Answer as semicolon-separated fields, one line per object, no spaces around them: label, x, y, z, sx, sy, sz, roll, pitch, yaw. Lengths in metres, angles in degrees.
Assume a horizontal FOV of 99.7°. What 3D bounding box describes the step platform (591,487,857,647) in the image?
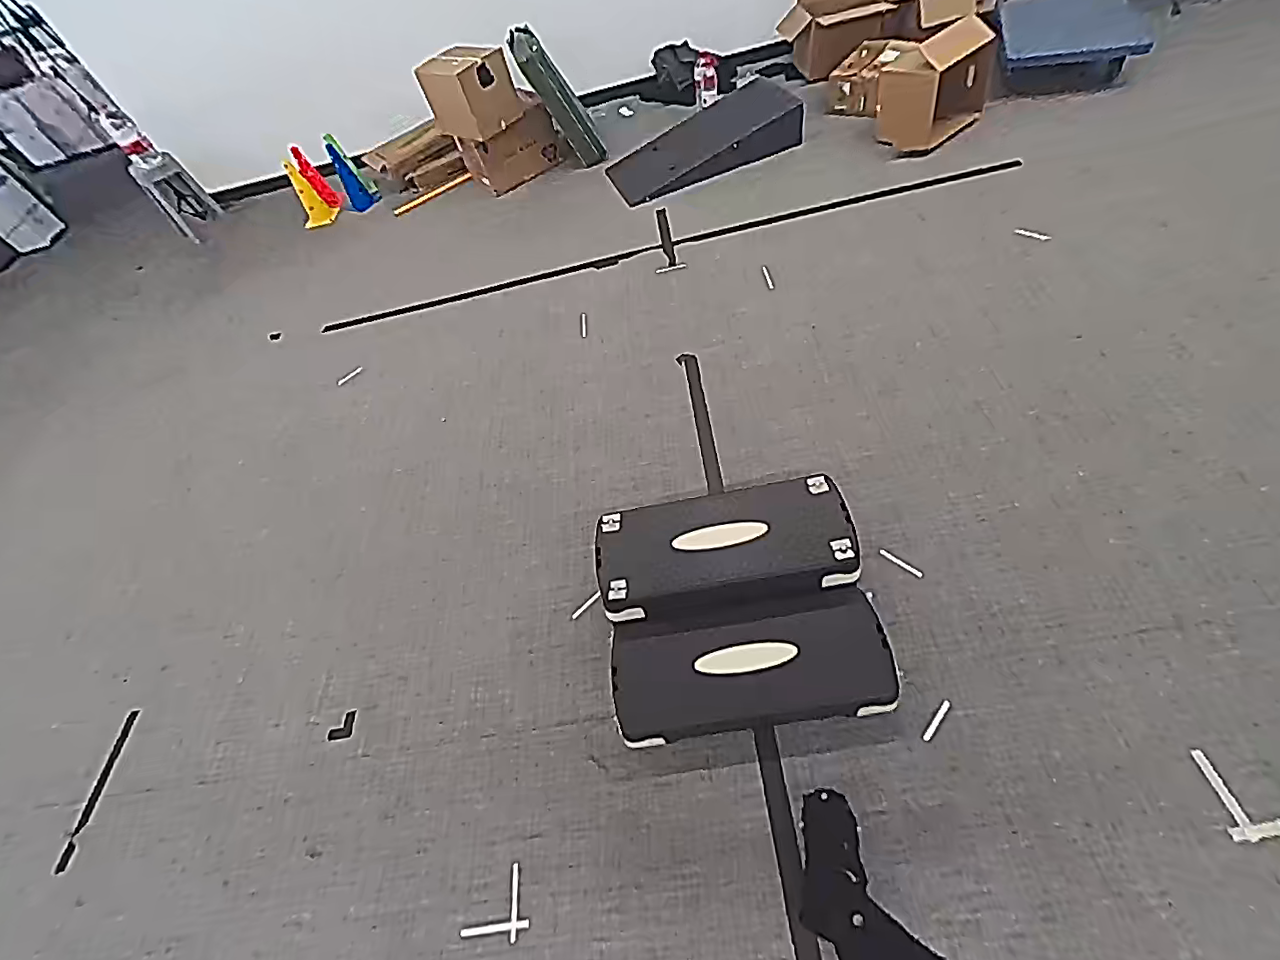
step platform;0.211;0.230;1.452;0.684;0.204;0.286;-11;53;4
